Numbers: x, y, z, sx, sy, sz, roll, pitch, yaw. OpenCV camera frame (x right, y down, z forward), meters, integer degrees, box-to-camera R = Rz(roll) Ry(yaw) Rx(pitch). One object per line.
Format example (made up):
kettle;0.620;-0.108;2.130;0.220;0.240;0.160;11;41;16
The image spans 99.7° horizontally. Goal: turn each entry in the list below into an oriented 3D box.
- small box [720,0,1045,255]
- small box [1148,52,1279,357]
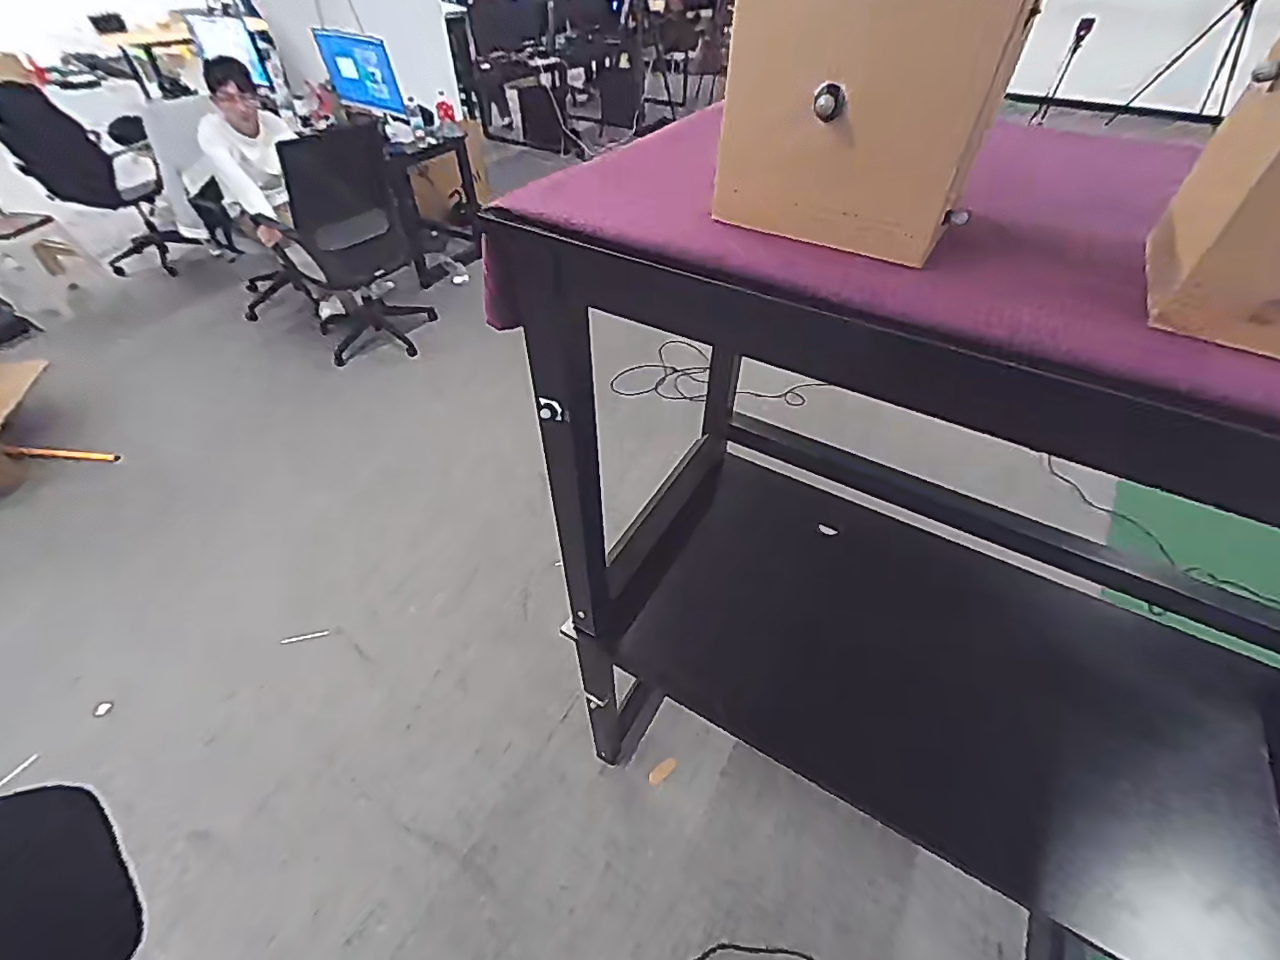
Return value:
small box;0.179;-0.295;0.419;0.179;0.176;0.168;24;50;22
small box;0.439;-0.173;0.307;0.168;0.176;0.179;26;51;24
